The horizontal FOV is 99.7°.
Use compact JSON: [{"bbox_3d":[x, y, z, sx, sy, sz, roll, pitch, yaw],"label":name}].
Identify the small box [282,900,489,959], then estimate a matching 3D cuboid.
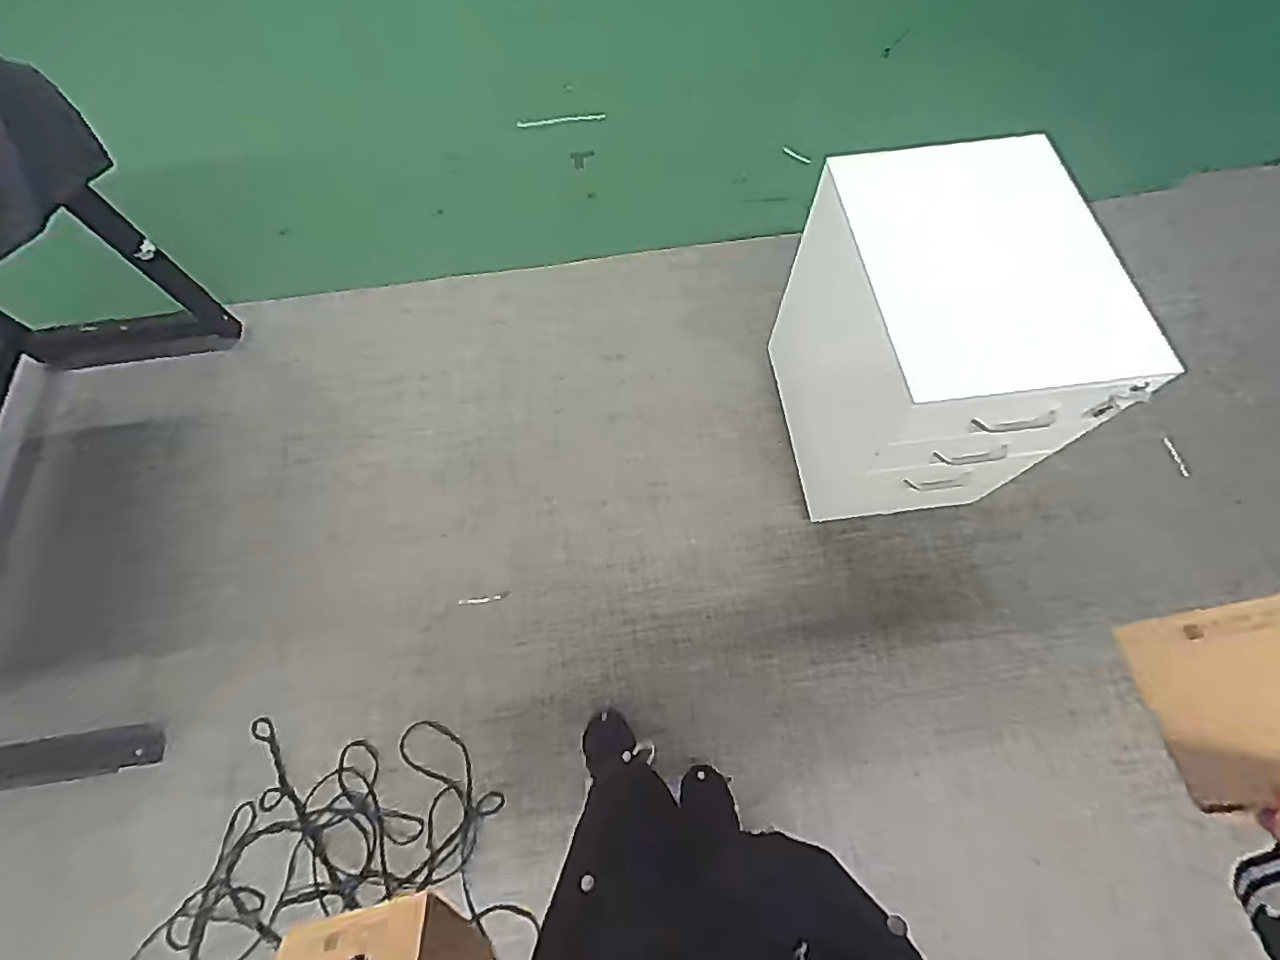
[{"bbox_3d":[-0.270,0.574,0.563,0.168,0.179,0.176,-17,35,2],"label":"small box"}]
